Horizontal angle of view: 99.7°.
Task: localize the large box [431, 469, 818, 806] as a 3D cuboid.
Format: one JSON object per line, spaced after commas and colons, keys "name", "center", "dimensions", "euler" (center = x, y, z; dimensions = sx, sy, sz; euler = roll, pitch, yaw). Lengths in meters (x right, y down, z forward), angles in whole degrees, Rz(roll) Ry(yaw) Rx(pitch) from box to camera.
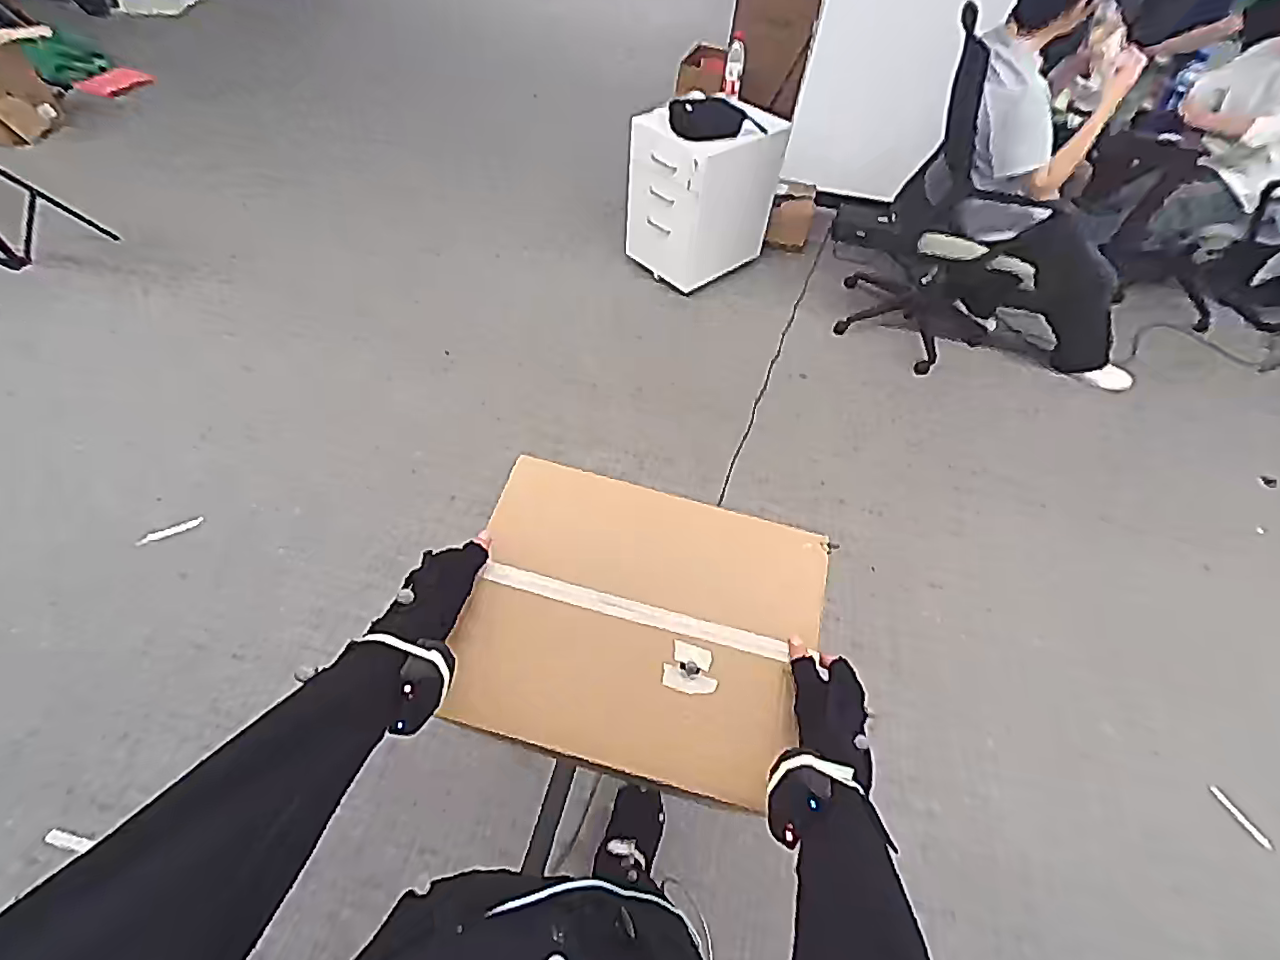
{"name": "large box", "center": [-0.011, 0.231, 0.760], "dimensions": [0.408, 0.320, 0.320], "euler": [15, 61, 2]}
